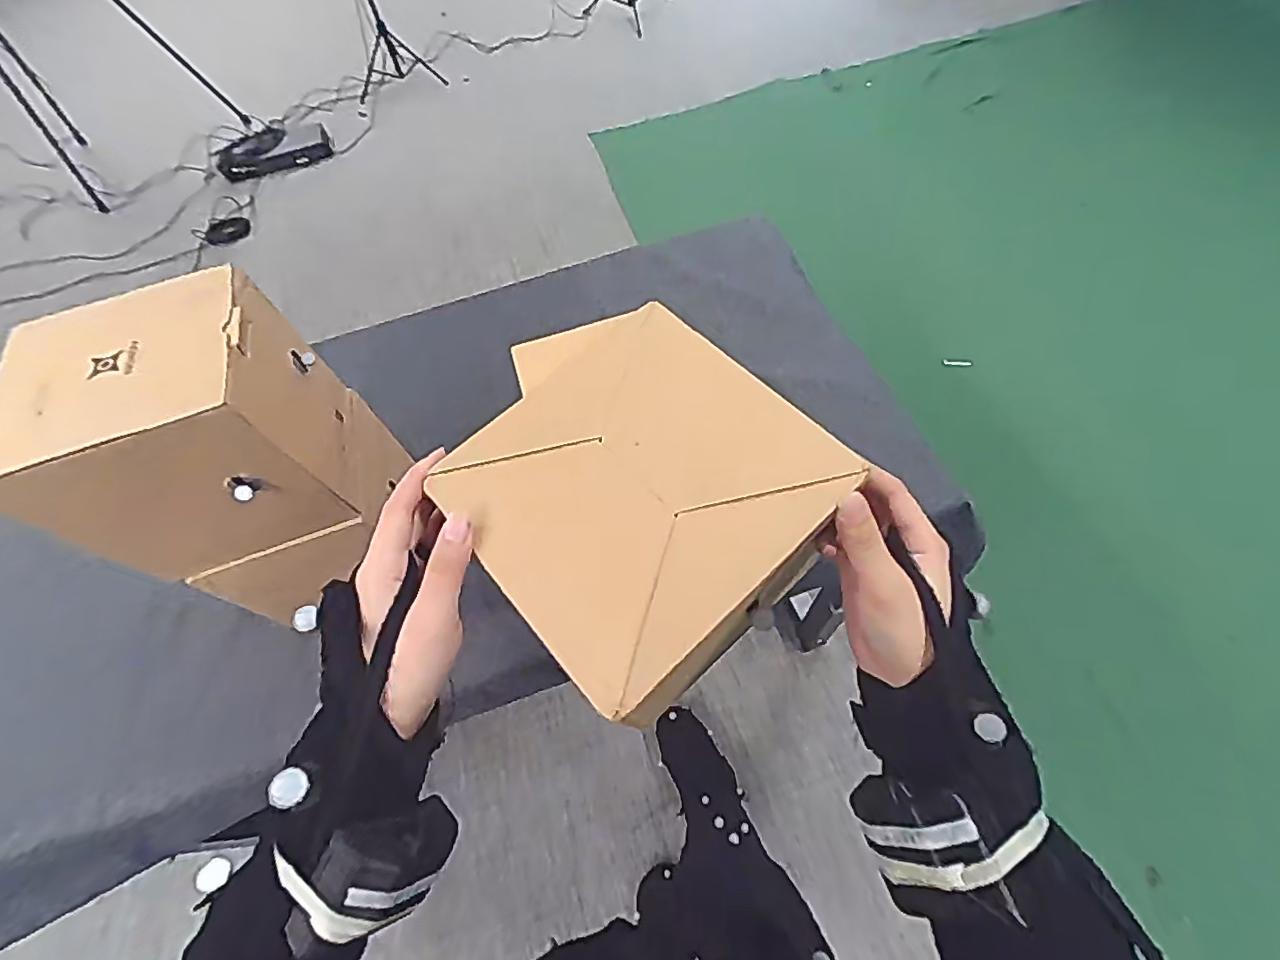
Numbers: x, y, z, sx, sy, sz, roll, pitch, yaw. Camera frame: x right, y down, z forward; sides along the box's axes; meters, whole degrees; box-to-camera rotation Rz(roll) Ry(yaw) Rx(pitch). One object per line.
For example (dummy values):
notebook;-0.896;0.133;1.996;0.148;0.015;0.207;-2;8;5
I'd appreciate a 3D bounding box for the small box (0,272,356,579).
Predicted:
small box;-0.370;-0.040;0.469;0.179;0.176;0.168;-21;58;-5

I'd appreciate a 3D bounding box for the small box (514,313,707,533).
small box;-0.029;-0.060;0.637;0.179;0.176;0.168;-18;59;-5

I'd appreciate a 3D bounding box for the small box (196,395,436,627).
small box;-0.350;0.040;0.609;0.168;0.176;0.179;-19;60;-5
